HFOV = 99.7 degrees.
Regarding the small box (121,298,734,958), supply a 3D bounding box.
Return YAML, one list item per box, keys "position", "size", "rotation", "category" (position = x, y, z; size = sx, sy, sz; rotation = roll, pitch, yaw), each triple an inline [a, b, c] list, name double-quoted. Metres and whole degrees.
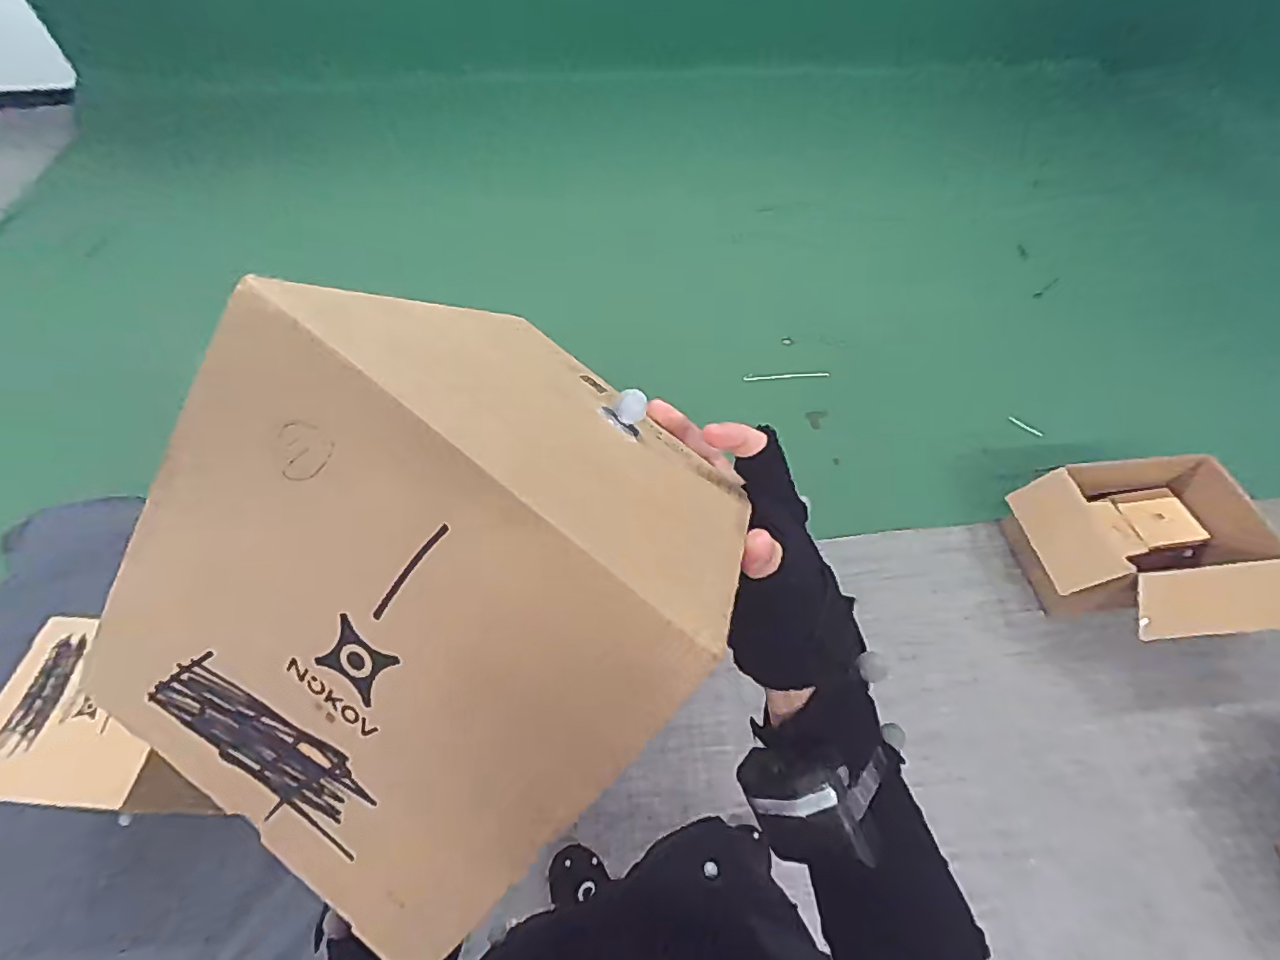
- position: [-0.070, 0.045, 0.253]
  size: [0.168, 0.176, 0.179]
  rotation: [38, 108, 3]
  category: "small box"
